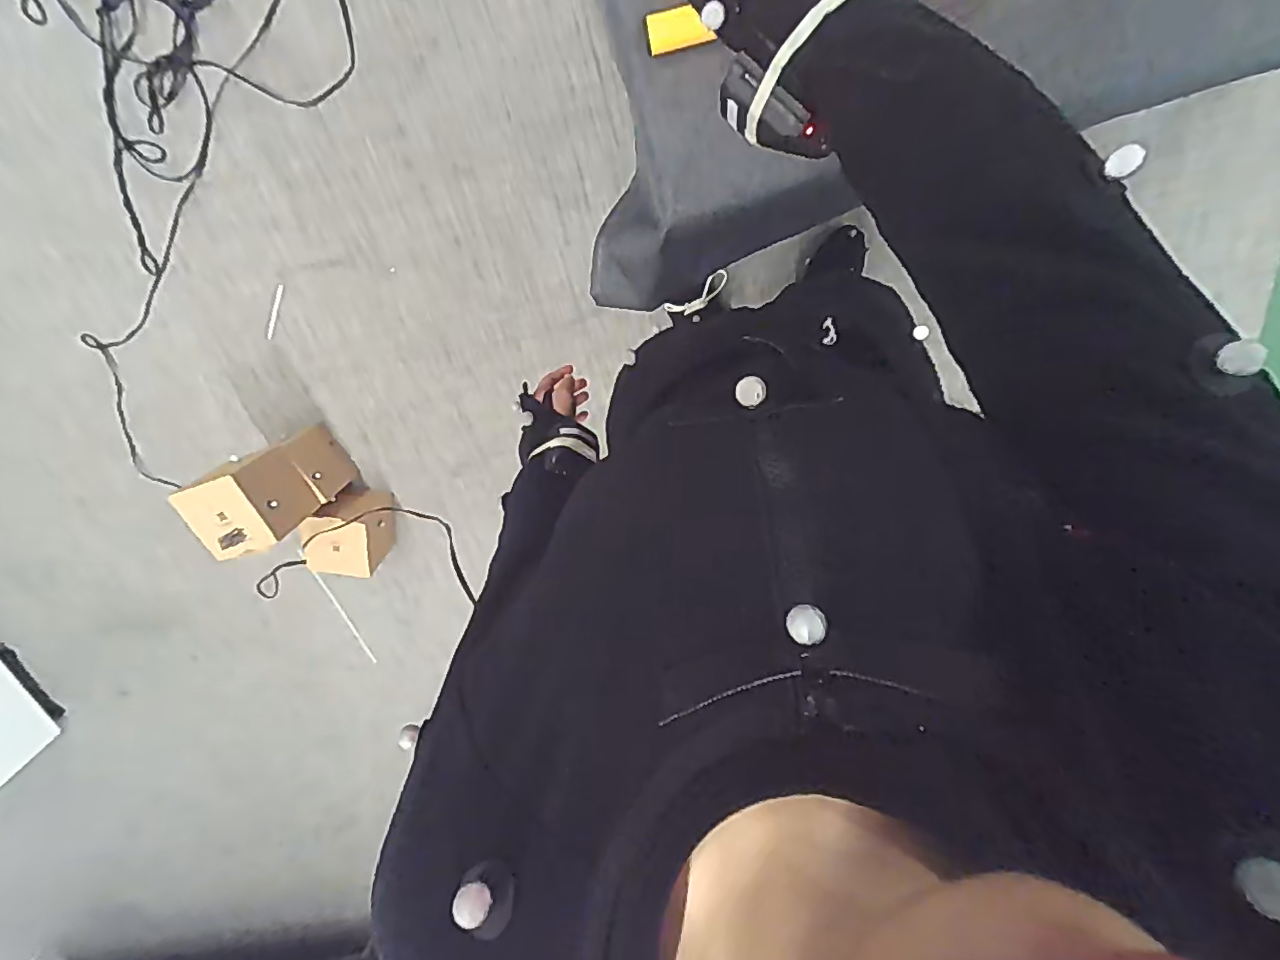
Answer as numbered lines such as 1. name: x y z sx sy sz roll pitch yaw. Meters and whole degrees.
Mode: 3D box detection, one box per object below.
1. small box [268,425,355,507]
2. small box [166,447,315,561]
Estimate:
1. small box: -0.872 -0.018 1.371 0.179 0.176 0.168 -21 113 12
2. small box: -0.885 0.050 1.221 0.168 0.176 0.179 -16 114 9
